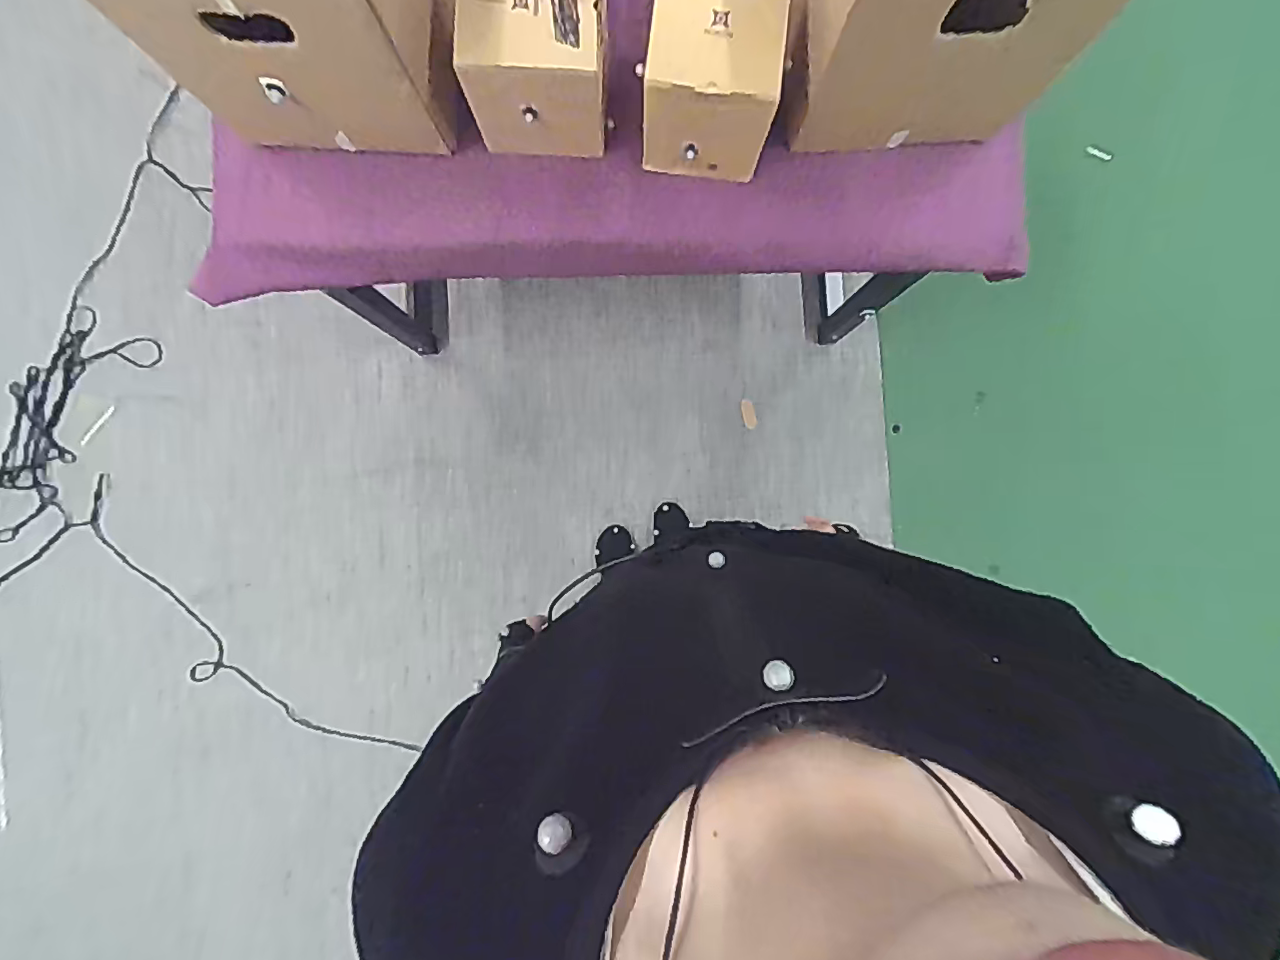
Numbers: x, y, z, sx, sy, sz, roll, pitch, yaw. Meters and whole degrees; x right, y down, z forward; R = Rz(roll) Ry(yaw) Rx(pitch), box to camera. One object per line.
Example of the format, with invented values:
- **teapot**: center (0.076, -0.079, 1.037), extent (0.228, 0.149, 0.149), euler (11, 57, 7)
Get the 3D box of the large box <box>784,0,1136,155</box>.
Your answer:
- **large box**: center (0.370, -0.700, 0.674), extent (0.320, 0.320, 0.408), euler (-3, 89, 1)
